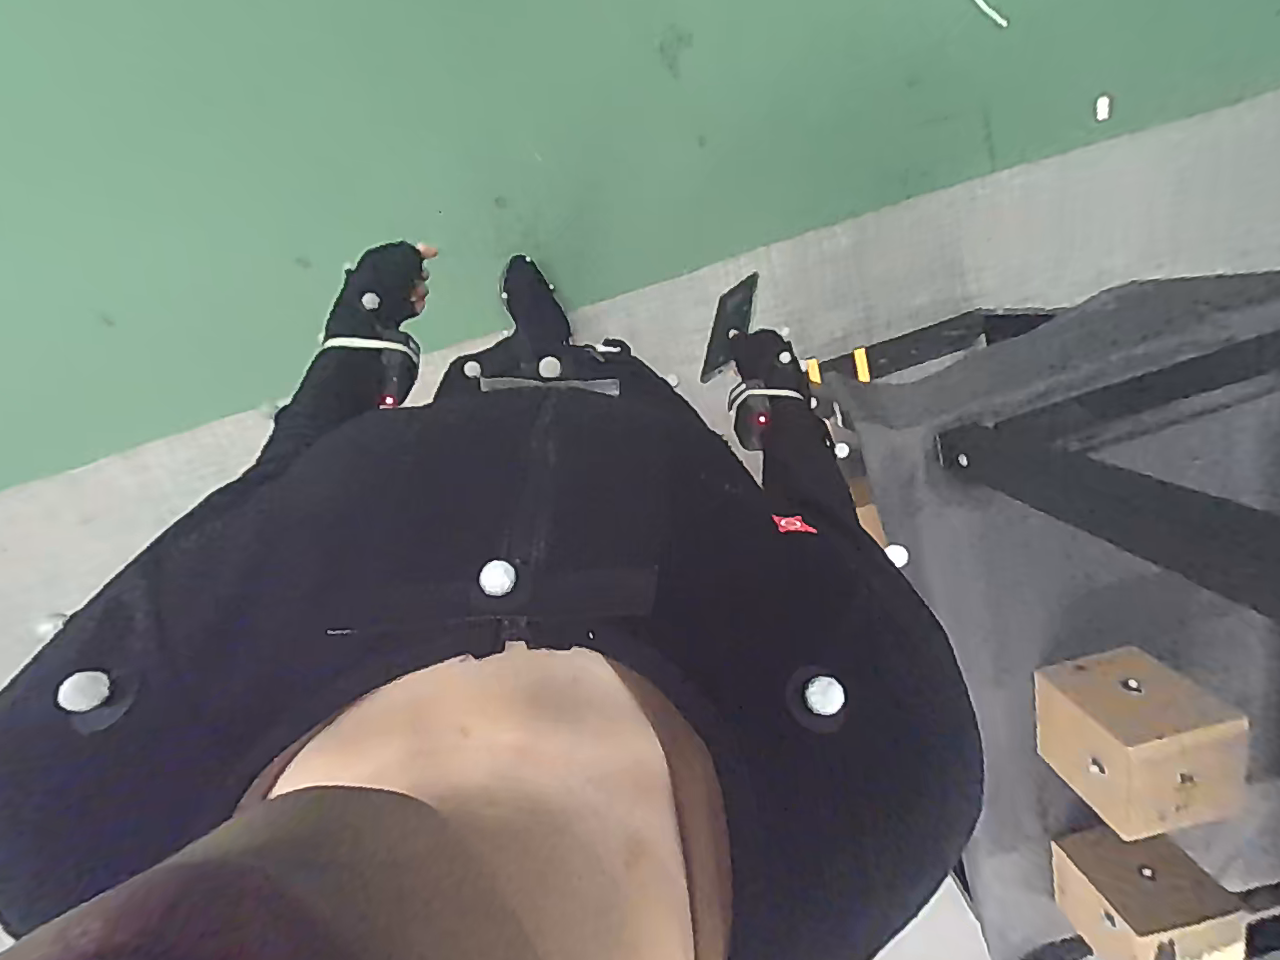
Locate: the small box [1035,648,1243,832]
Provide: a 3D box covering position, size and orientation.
[{"bbox_3d":[0.737,0.378,0.819,0.168,0.176,0.179,-15,107,1],"label":"small box"}]
